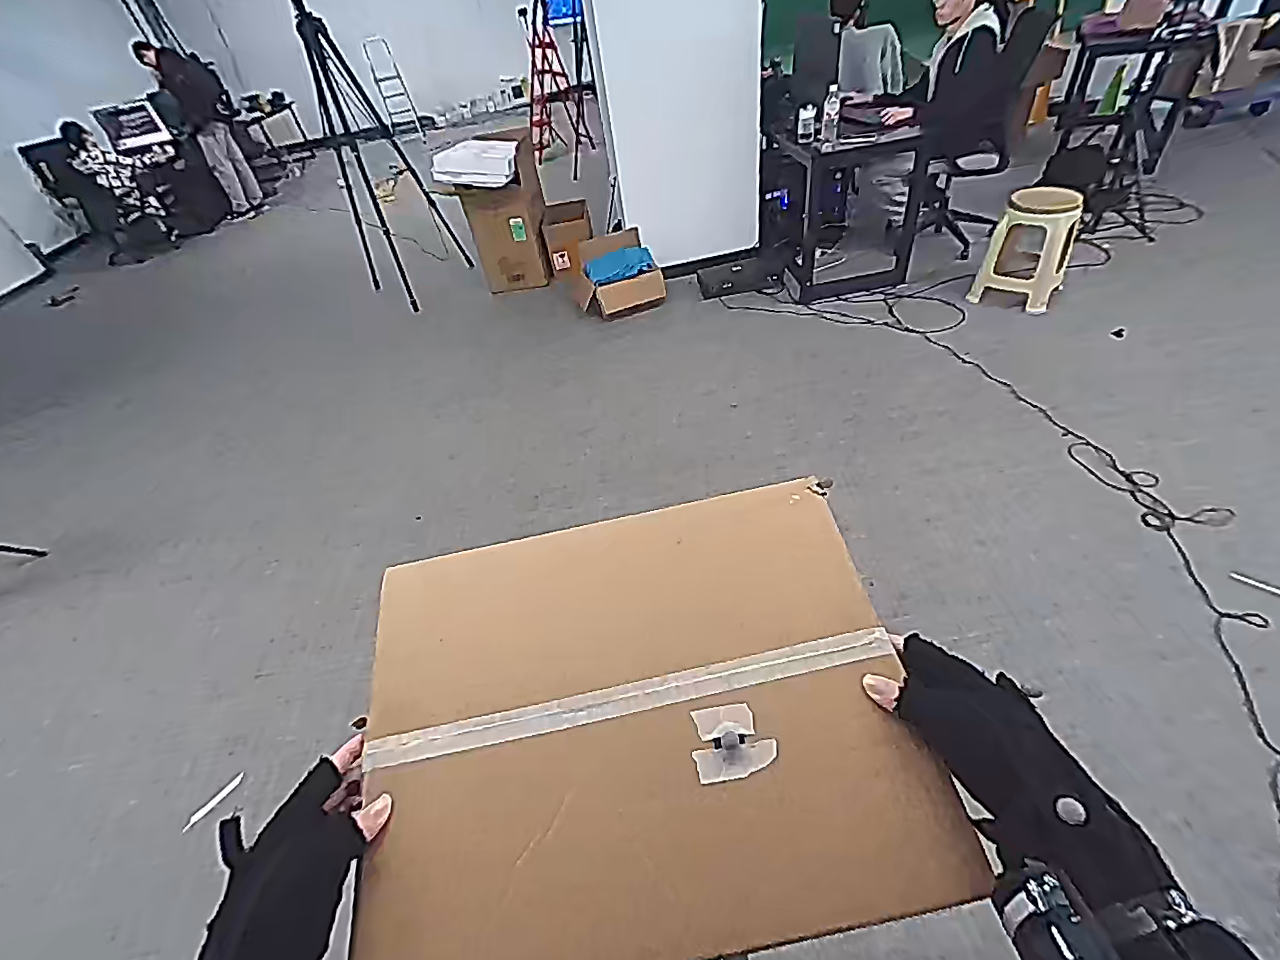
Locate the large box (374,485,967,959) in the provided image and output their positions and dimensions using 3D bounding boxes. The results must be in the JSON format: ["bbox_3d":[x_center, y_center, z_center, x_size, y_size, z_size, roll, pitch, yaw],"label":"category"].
[{"bbox_3d":[0.009,0.252,0.552,0.408,0.320,0.320,-12,57,-1],"label":"large box"}]
